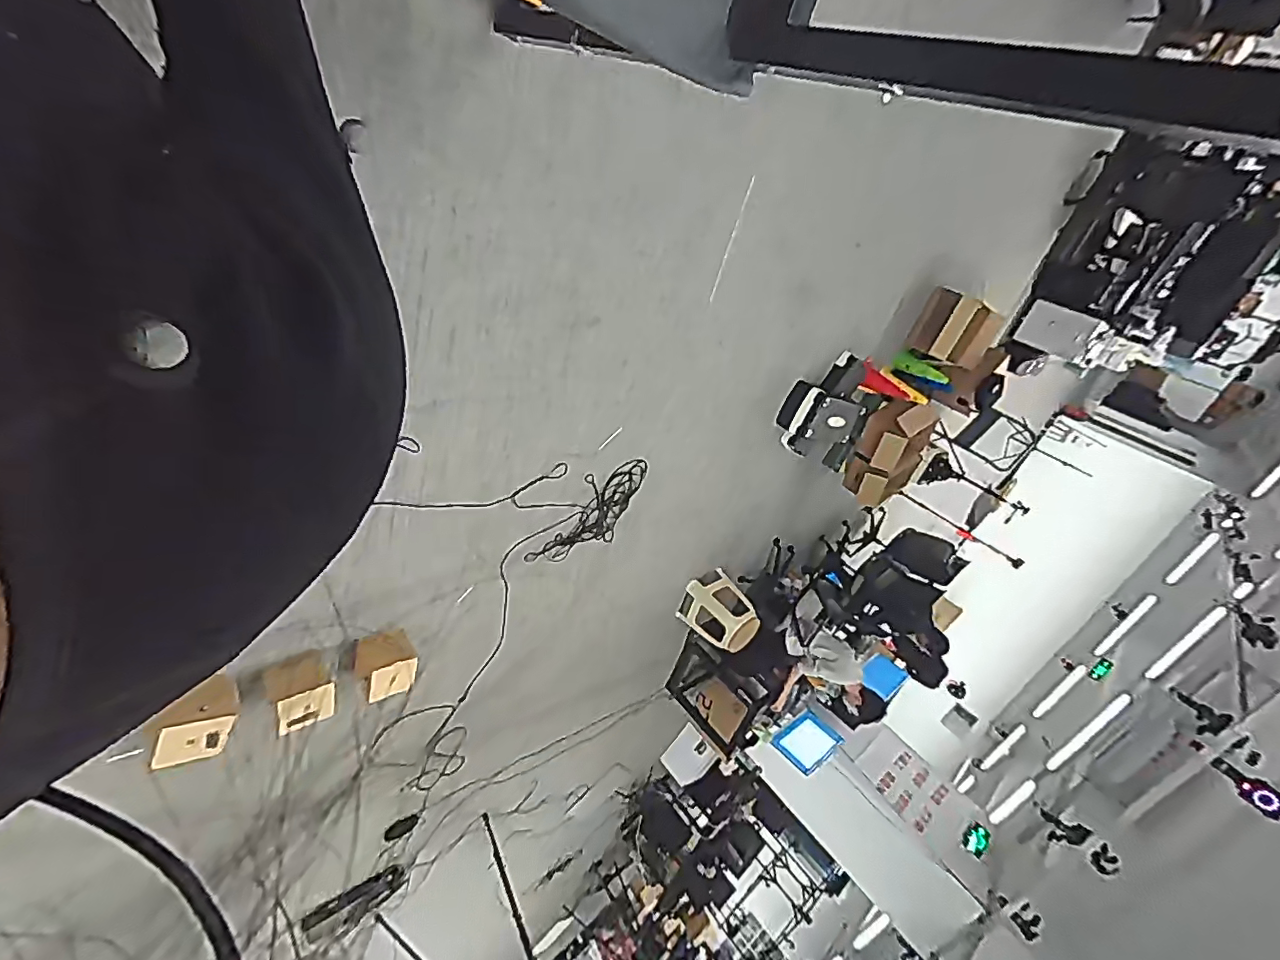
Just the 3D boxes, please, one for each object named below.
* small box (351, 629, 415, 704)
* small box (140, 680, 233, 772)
[{"bbox_3d":[-0.974,0.697,2.037,0.168,0.176,0.179,-10,128,-44],"label":"small box"},{"bbox_3d":[-1.358,0.724,1.616,0.179,0.176,0.168,9,114,-51],"label":"small box"}]
